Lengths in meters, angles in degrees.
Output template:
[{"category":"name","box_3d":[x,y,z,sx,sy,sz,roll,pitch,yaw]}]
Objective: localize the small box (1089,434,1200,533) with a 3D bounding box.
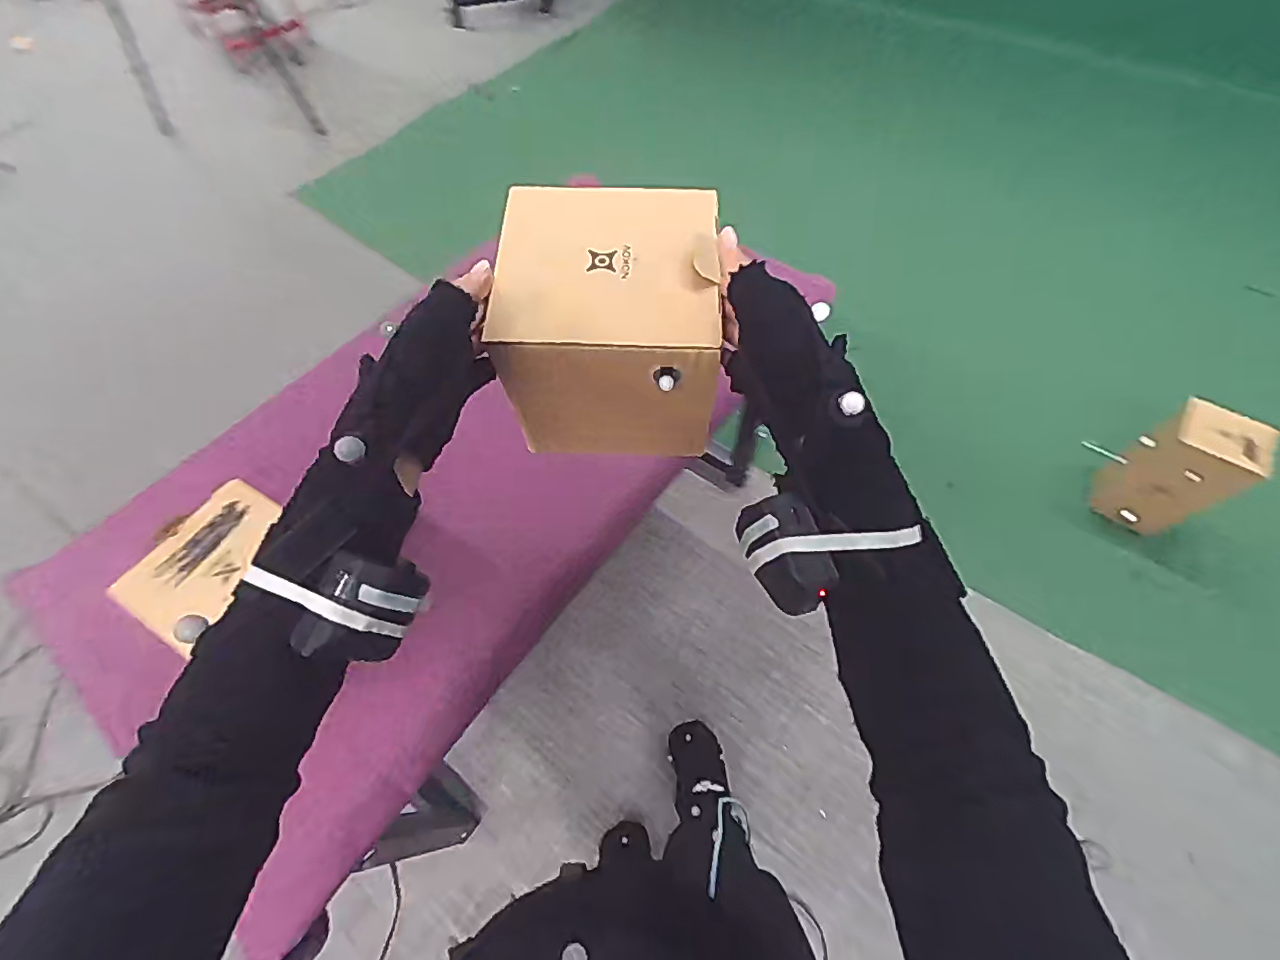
[{"category":"small box","box_3d":[1.397,0.013,1.494,0.168,0.176,0.179,31,66,19]}]

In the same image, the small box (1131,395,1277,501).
[{"category":"small box","box_3d":[1.398,-0.071,1.349,0.179,0.176,0.168,34,64,19]}]

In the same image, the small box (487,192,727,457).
[{"category":"small box","box_3d":[-0.019,-0.130,0.490,0.179,0.176,0.168,2,65,1]}]
